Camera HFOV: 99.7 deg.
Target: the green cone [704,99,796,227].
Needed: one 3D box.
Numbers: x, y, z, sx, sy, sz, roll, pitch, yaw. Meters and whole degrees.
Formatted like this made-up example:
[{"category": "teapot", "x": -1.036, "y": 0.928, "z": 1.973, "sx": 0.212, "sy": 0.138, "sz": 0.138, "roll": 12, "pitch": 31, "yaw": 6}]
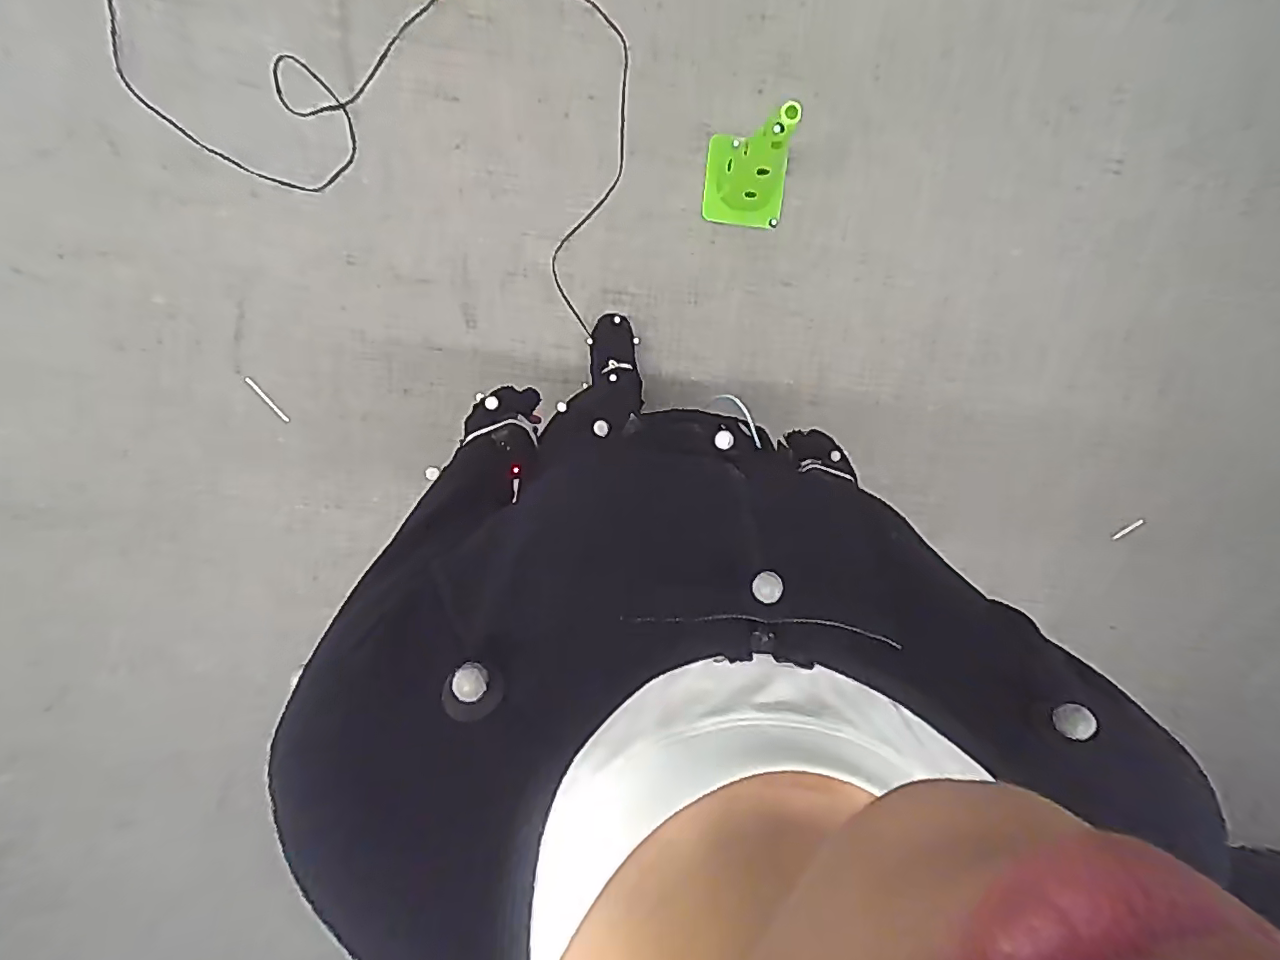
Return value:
[{"category": "green cone", "x": 0.271, "y": -0.718, "z": 1.179, "sx": 0.202, "sy": 0.368, "sz": 0.200, "roll": 5, "pitch": 99, "yaw": -3}]
